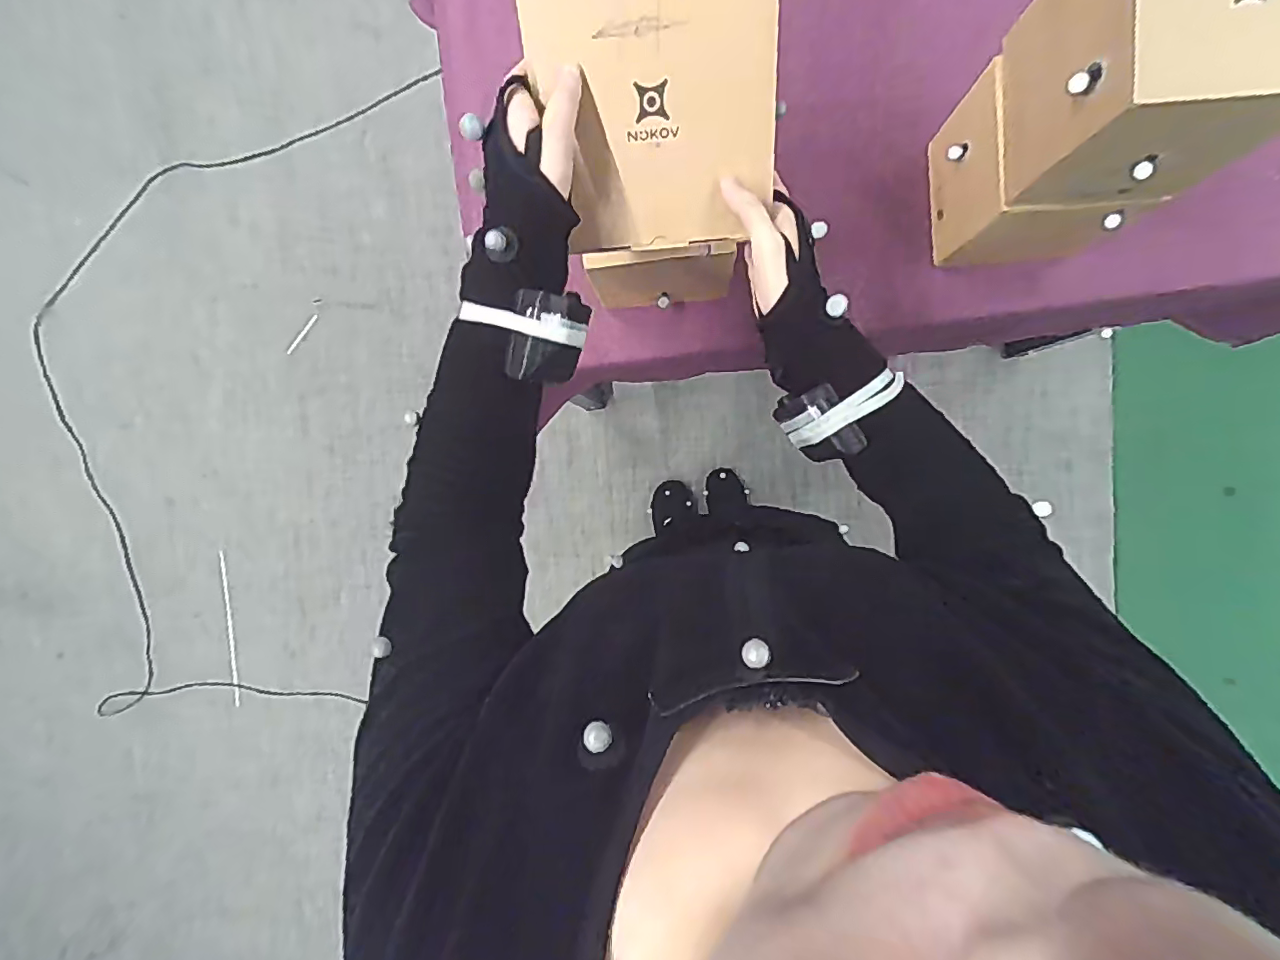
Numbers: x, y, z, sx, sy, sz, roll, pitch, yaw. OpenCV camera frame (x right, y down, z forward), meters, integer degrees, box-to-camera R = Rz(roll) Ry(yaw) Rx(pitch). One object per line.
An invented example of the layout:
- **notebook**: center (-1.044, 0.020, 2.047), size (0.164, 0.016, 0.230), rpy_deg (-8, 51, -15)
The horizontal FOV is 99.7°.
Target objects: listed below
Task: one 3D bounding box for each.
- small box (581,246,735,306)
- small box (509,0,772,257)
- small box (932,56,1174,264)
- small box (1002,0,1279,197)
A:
- **small box**: center (0.020, -0.330, 0.685), size (0.179, 0.176, 0.168), rpy_deg (-4, 91, 5)
- **small box**: center (0.011, -0.287, 0.431), size (0.168, 0.176, 0.179), rpy_deg (-2, 120, 6)
- **small box**: center (0.468, -0.372, 0.644), size (0.179, 0.176, 0.168), rpy_deg (-3, 92, 5)
- **small box**: center (0.453, -0.372, 0.480), size (0.168, 0.176, 0.179), rpy_deg (-1, 92, 4)
